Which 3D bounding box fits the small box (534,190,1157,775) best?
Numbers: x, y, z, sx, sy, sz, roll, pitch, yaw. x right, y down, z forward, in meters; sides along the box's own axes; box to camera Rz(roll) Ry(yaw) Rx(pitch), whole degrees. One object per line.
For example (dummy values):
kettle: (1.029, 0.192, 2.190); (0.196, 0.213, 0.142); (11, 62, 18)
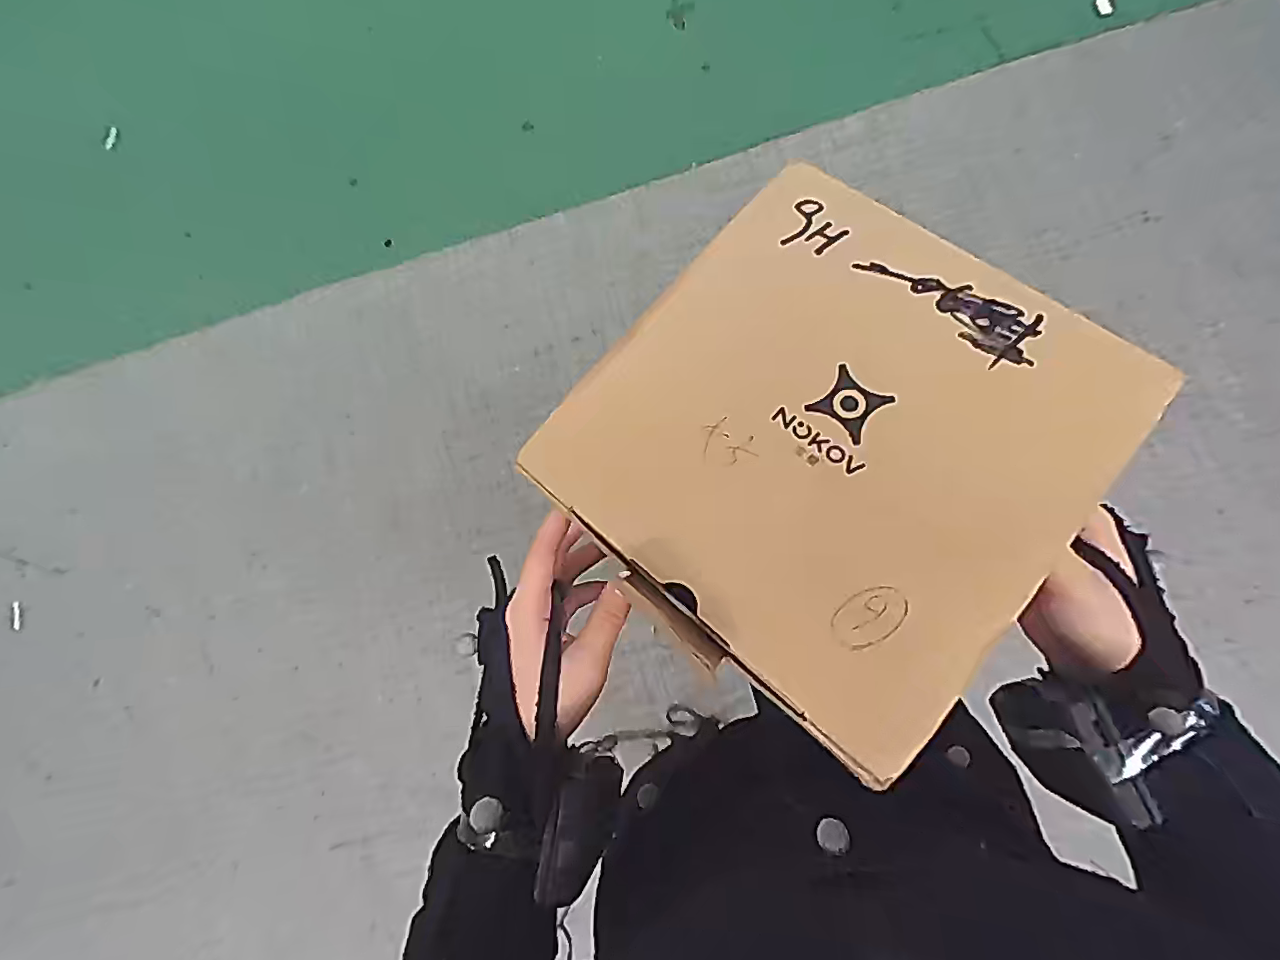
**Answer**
small box: (0.082, 0.007, 0.281); (0.168, 0.176, 0.179); (40, 82, 15)
